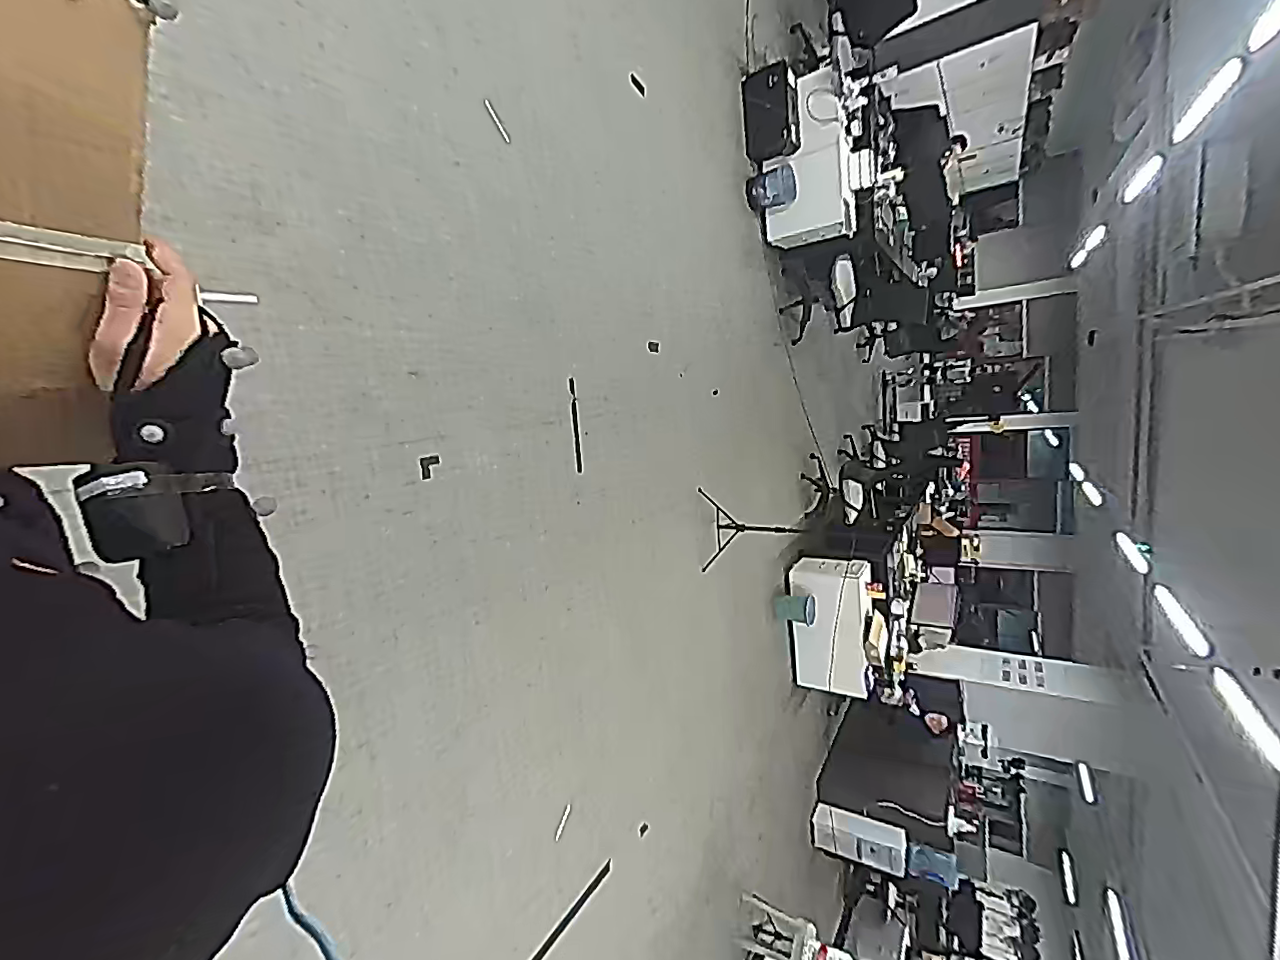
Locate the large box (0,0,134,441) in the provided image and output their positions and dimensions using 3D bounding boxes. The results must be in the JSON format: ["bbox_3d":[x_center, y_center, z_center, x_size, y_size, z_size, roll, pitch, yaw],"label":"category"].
[{"bbox_3d":[-0.564,-0.218,0.268,0.408,0.320,0.320,-11,134,-53],"label":"large box"}]
